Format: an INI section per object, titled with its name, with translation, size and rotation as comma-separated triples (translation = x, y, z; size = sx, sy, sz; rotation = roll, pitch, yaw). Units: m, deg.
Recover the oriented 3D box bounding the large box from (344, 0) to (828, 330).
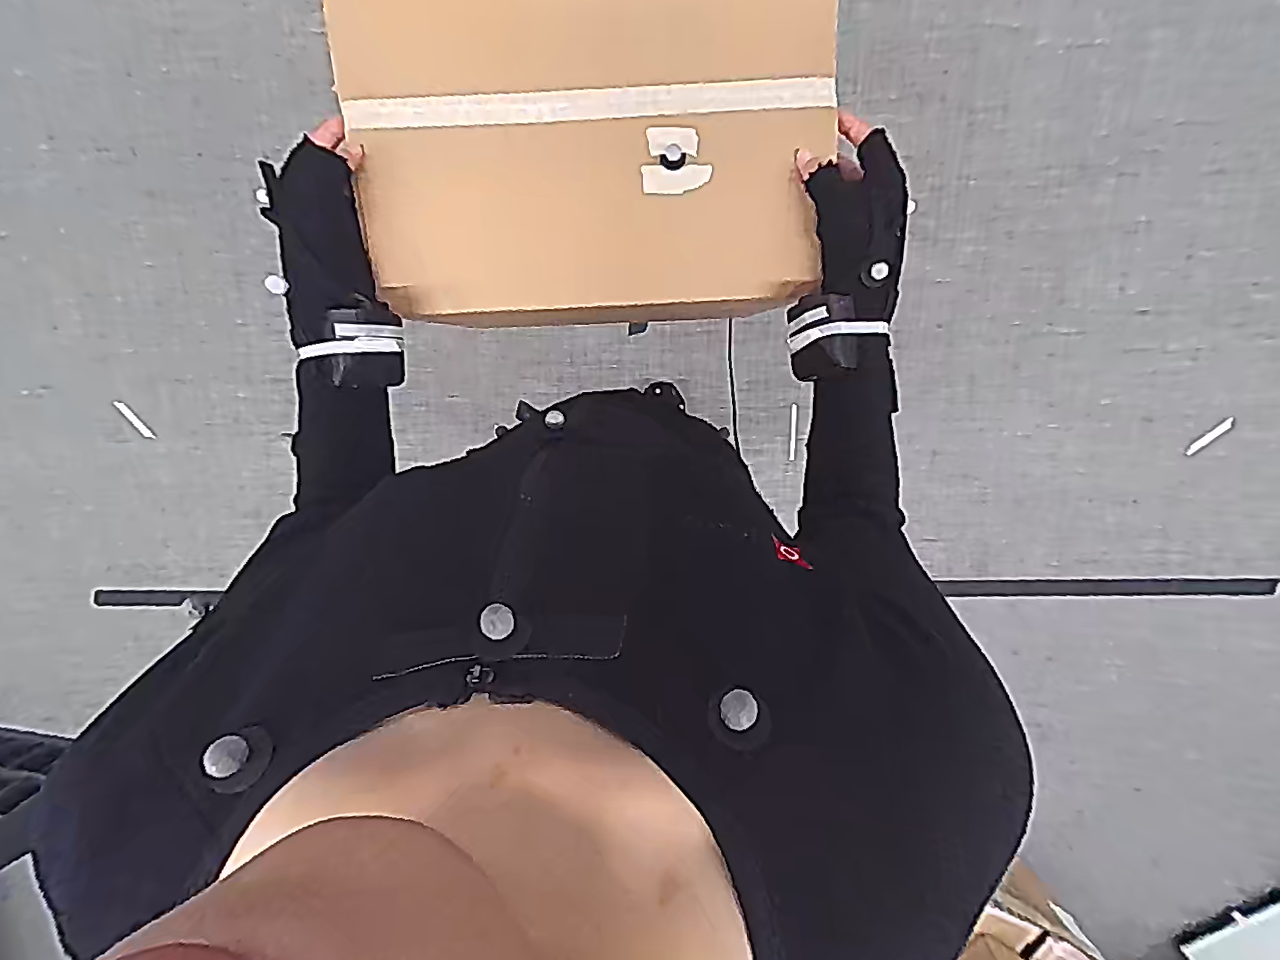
[large box]
translation = -0.043, -0.346, 0.606
size = 0.408, 0.320, 0.320
rotation = -3, 103, -1
